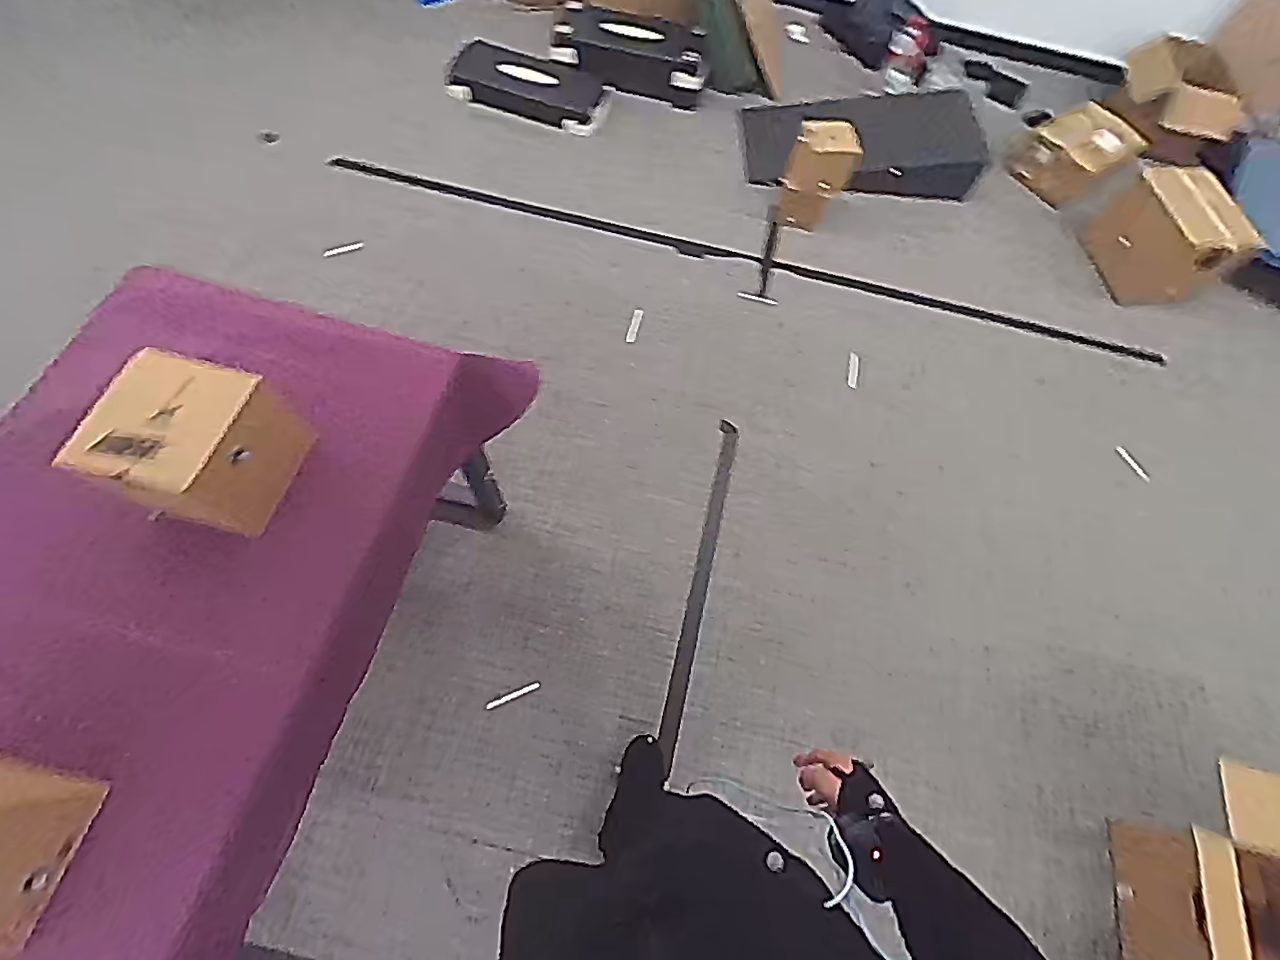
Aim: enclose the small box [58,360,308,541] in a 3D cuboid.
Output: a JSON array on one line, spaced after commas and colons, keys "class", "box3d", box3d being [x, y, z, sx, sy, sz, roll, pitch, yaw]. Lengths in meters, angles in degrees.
[{"class": "small box", "box3d": [-0.605, -0.032, 0.750, 0.168, 0.176, 0.179, 13, 65, 1]}]
